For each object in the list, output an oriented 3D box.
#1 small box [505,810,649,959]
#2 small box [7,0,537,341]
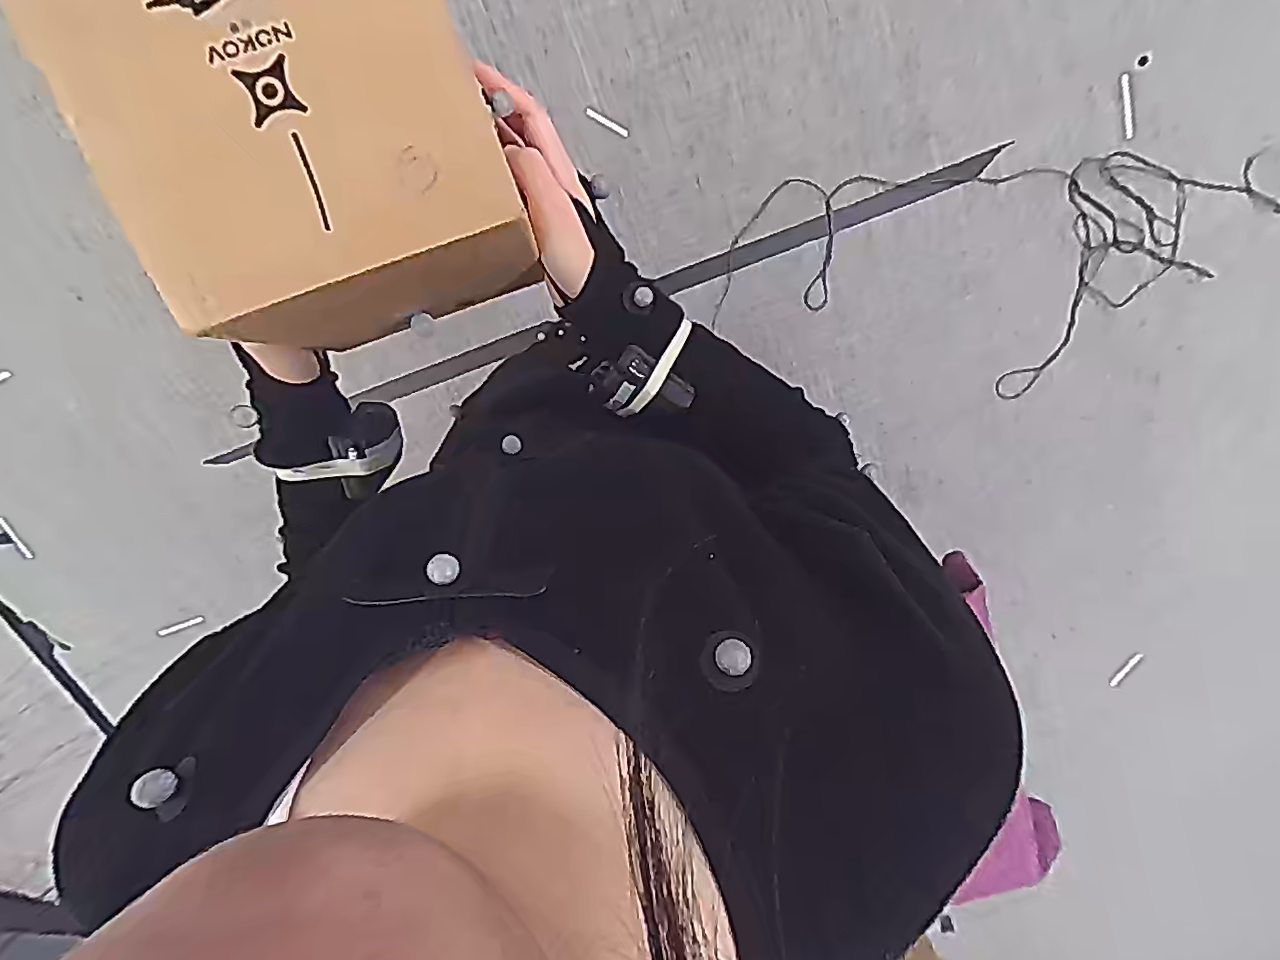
[{"bbox_3d":[-0.094,0.681,0.883,0.179,0.176,0.168,-18,106,5],"label":"small box"},{"bbox_3d":[-0.167,-0.191,0.304,0.168,0.176,0.179,-20,102,-2],"label":"small box"}]
